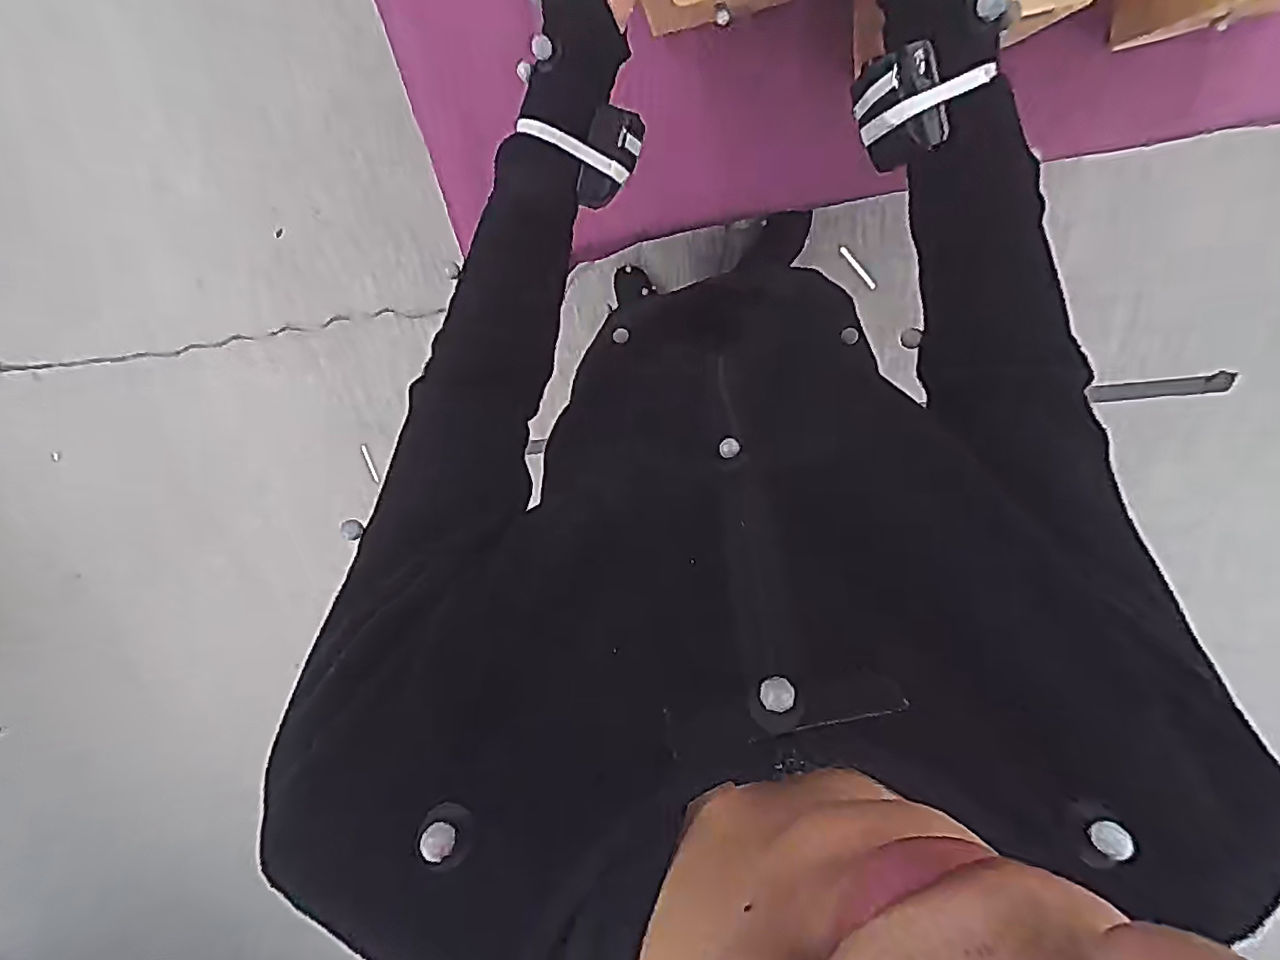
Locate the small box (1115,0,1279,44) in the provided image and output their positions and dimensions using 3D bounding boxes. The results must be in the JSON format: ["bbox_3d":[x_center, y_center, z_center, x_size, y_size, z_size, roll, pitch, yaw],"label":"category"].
[{"bbox_3d":[0.576,-0.534,0.481,0.168,0.176,0.179,-8,116,11],"label":"small box"}]

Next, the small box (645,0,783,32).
[{"bbox_3d":[0.070,-0.578,0.521,0.168,0.176,0.179,-6,117,11],"label":"small box"}]
